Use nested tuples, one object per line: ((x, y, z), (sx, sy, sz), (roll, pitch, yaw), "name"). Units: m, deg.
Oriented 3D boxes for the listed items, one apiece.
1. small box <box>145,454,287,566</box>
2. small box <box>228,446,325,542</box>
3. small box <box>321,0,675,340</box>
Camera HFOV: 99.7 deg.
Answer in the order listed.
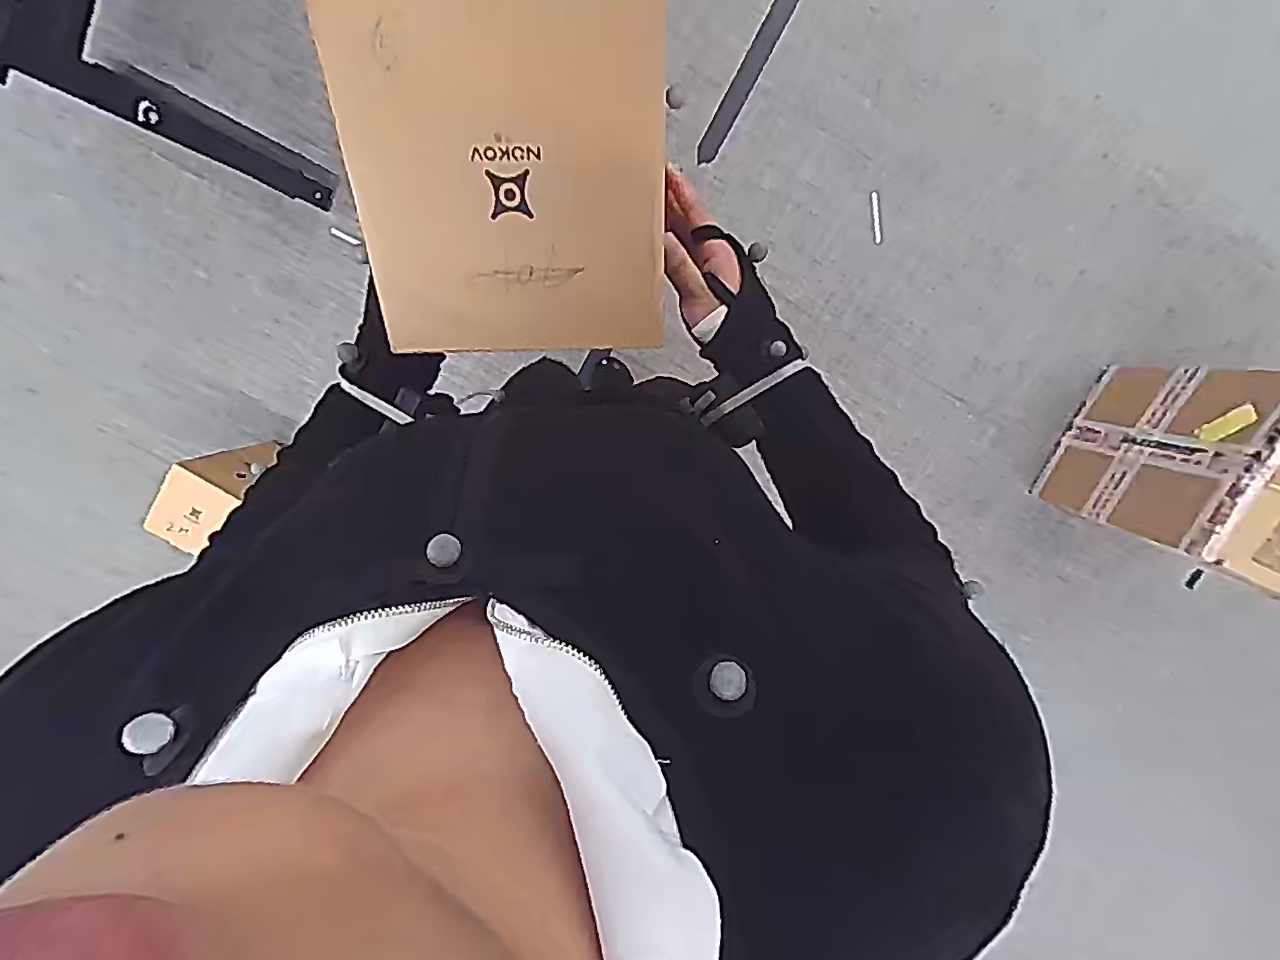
((-0.960, 0.060, 1.244), (0.168, 0.176, 0.179), (33, 101, -7), "small box")
((-0.973, 0.027, 1.405), (0.179, 0.176, 0.168), (36, 101, -9), "small box")
((-0.066, -0.200, 0.352), (0.168, 0.176, 0.179), (-1, 120, 0), "small box")
